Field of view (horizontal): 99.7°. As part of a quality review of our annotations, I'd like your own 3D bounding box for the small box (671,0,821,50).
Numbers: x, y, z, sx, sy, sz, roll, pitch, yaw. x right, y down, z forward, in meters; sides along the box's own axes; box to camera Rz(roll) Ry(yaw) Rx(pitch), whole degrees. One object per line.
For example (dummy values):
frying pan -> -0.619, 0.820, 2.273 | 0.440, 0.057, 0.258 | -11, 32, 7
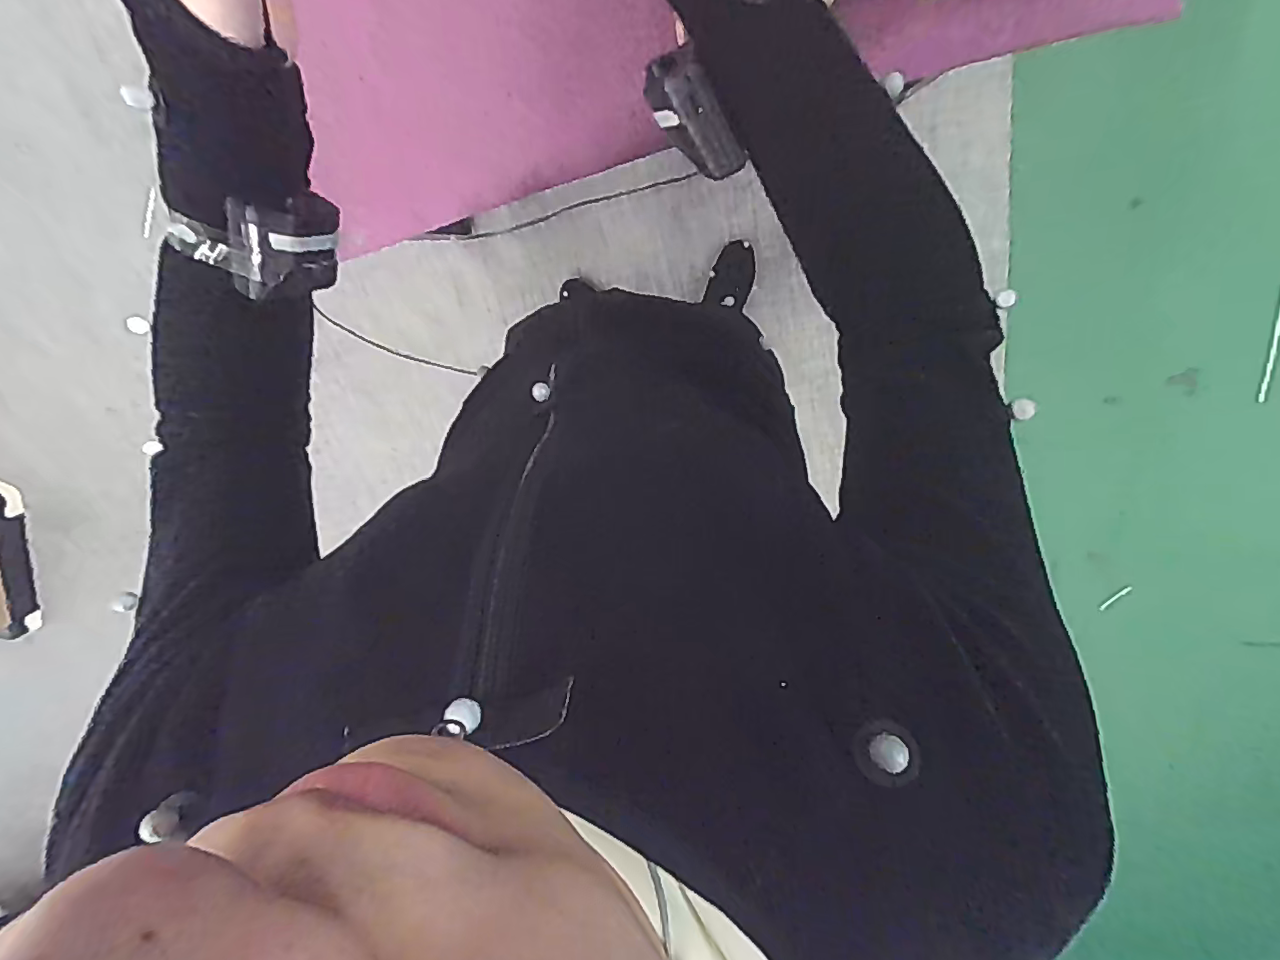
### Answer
small box -> 0.107, -0.579, 0.553 | 0.168, 0.176, 0.179 | -9, 112, 9
